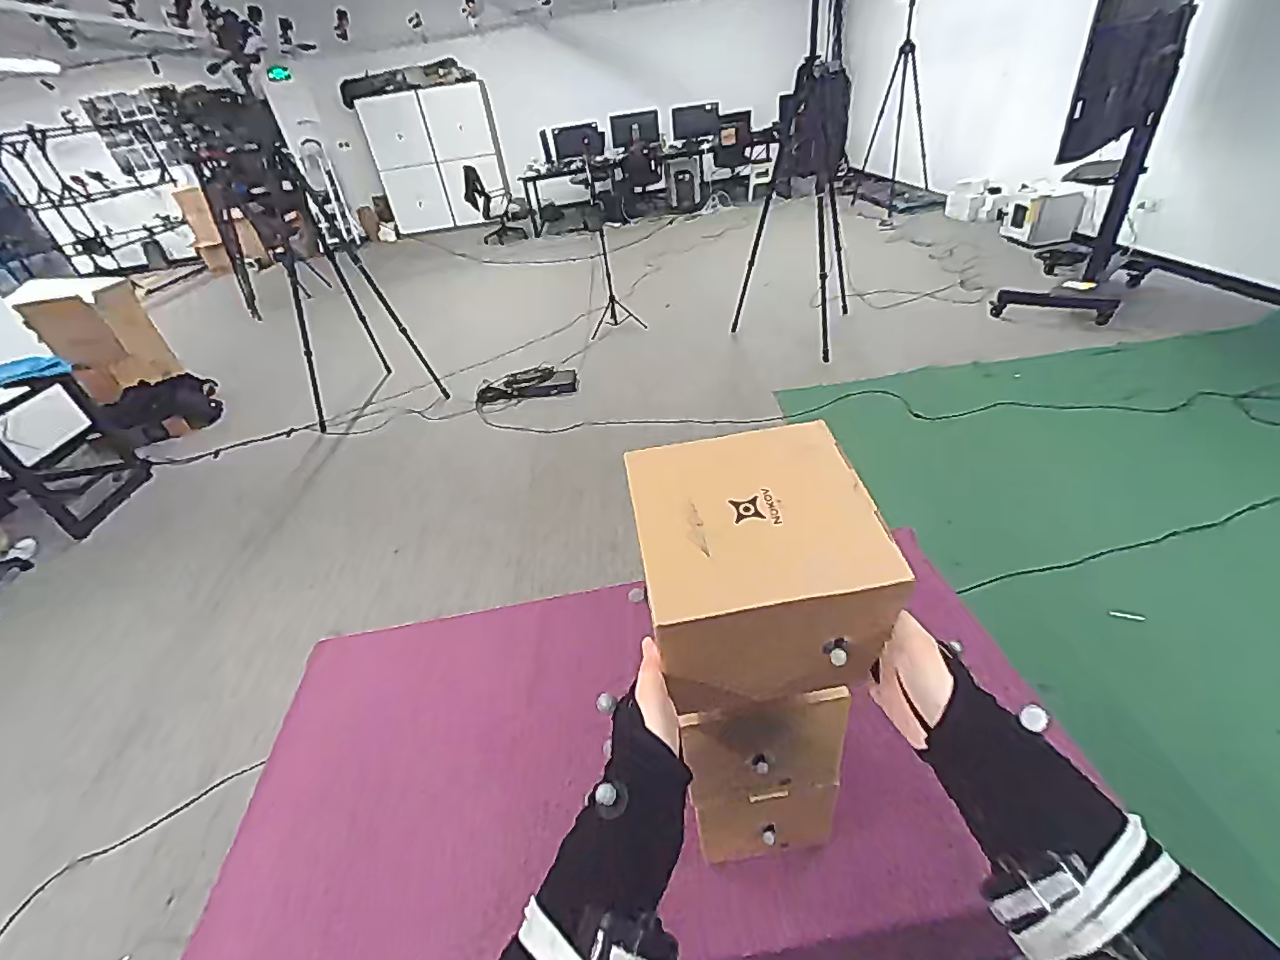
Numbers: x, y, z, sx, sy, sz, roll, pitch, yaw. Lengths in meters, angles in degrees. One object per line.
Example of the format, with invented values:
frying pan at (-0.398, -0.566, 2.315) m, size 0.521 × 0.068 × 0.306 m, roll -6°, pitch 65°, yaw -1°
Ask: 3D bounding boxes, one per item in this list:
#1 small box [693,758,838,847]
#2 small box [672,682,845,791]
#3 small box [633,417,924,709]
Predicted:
small box at (0.147, 0.360, 0.719) m, size 0.168 × 0.176 × 0.179 m, roll -9°, pitch 37°, yaw 0°
small box at (0.118, 0.230, 0.618) m, size 0.168 × 0.176 × 0.179 m, roll -8°, pitch 35°, yaw 0°
small box at (0.096, 0.074, 0.457) m, size 0.179 × 0.176 × 0.168 m, roll -10°, pitch 48°, yaw -1°
